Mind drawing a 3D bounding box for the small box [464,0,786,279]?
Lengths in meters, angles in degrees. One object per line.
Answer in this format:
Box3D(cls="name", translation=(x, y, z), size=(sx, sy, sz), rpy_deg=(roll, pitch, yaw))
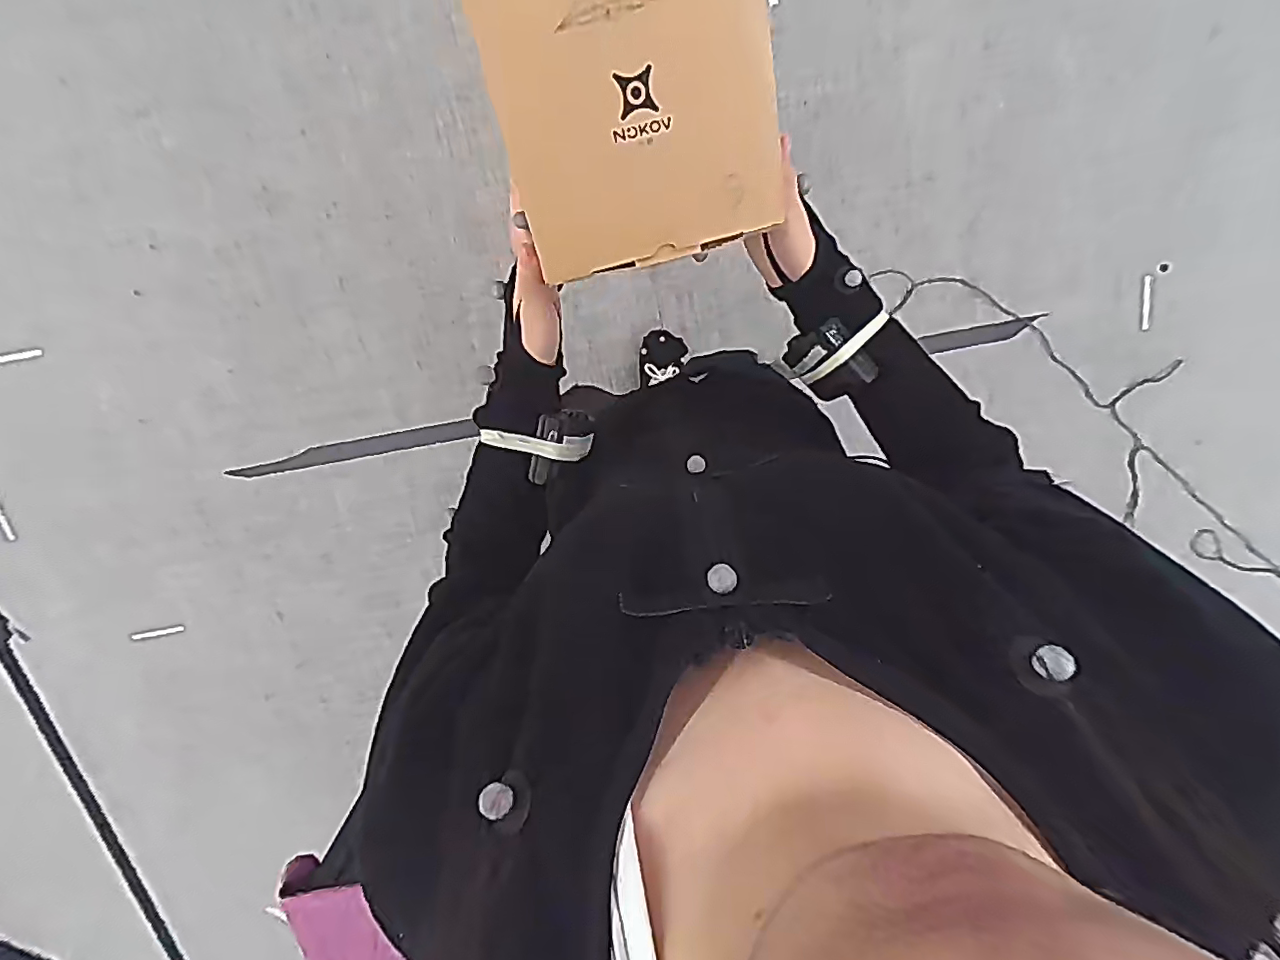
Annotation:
Box3D(cls="small box", translation=(-0.010, -0.260, 0.386), size=(0.168, 0.176, 0.179), rpy_deg=(-15, 115, 0))
